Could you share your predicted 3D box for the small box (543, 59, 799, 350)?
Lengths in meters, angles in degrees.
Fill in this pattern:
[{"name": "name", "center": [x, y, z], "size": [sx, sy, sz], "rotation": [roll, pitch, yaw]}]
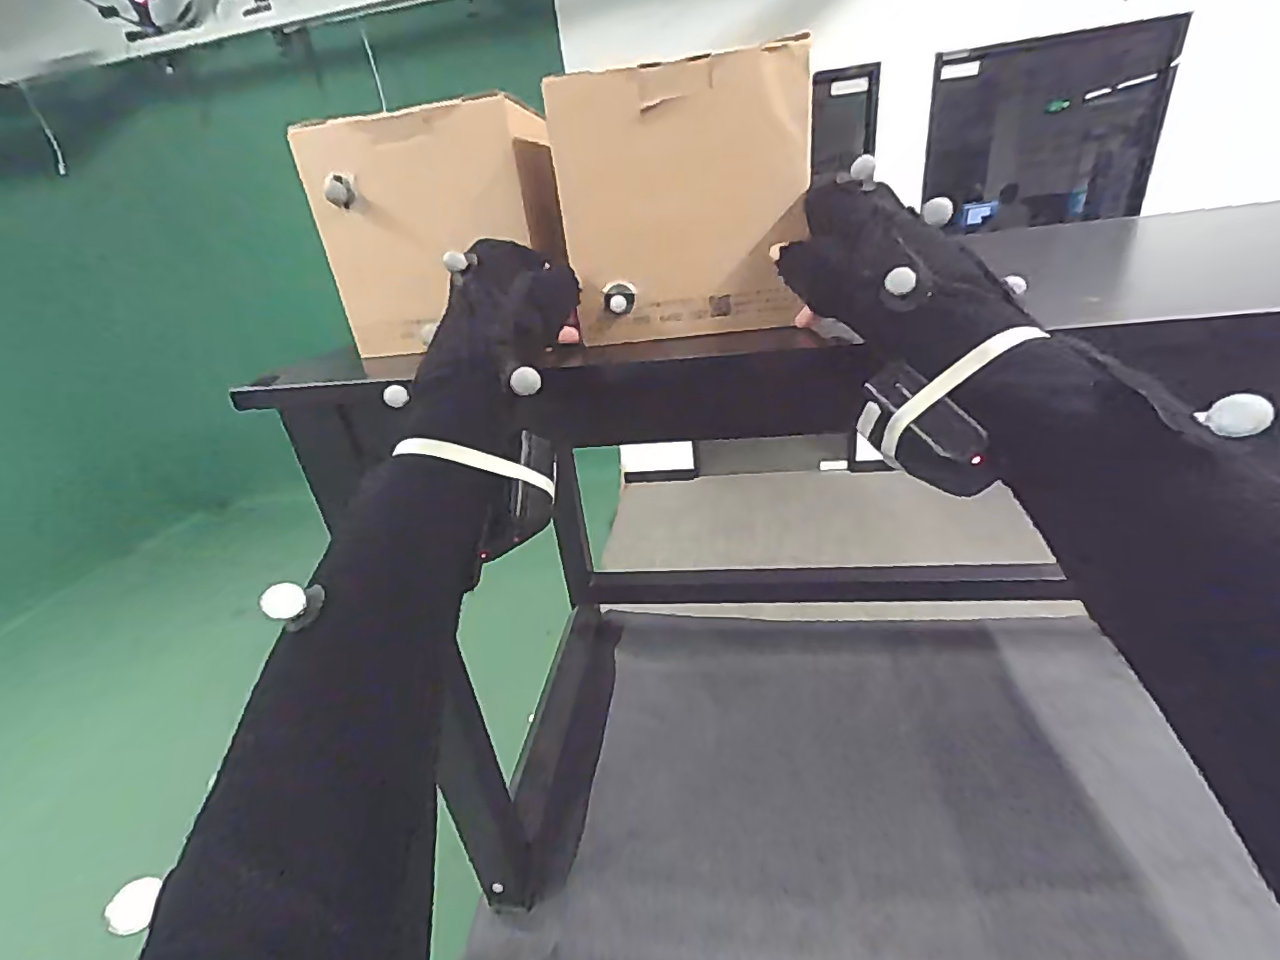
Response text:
[{"name": "small box", "center": [0.032, -0.207, 0.442], "size": [0.168, 0.176, 0.179], "rotation": [-4, 25, 5]}]
